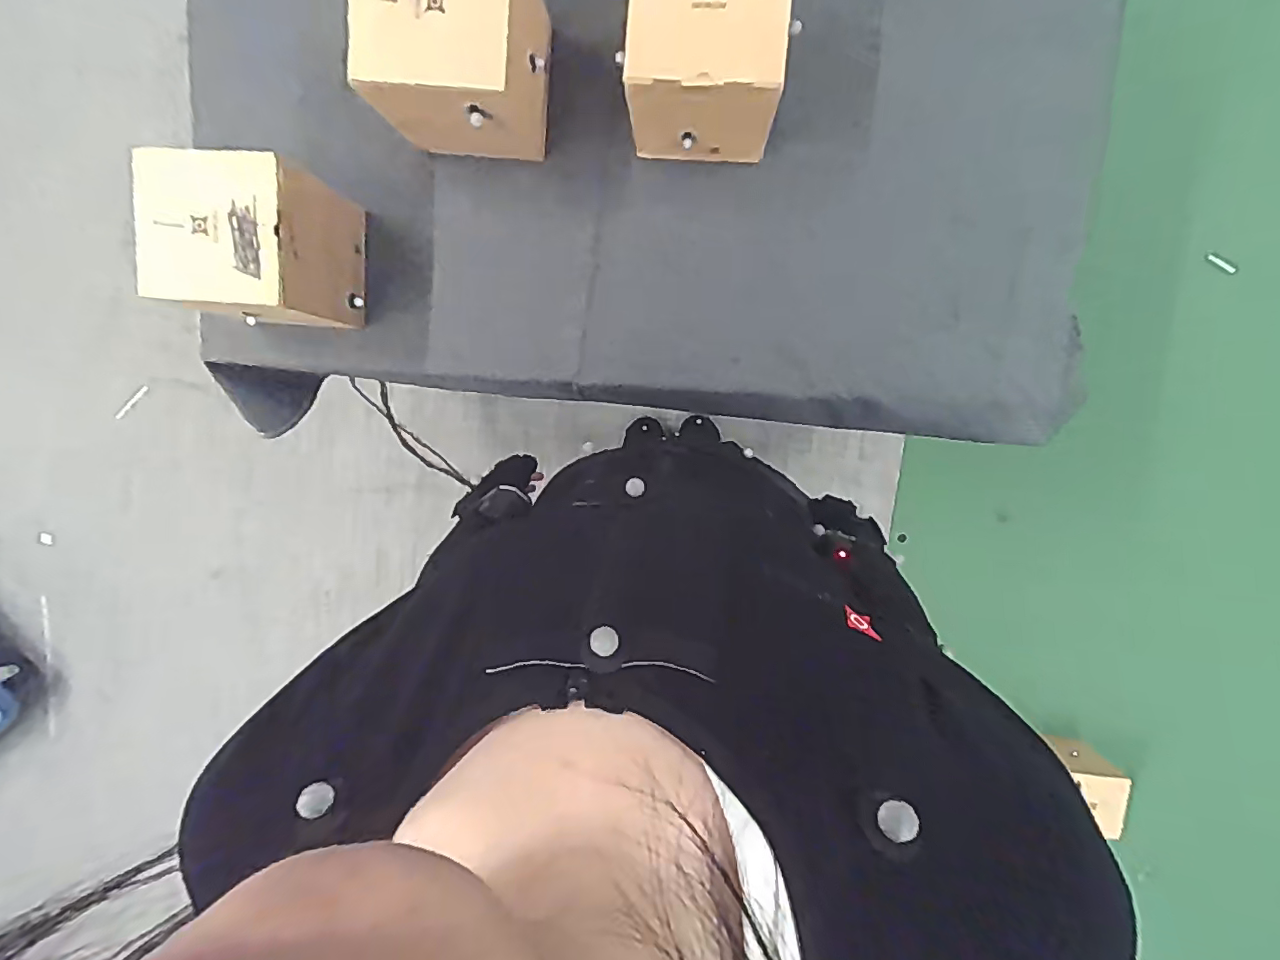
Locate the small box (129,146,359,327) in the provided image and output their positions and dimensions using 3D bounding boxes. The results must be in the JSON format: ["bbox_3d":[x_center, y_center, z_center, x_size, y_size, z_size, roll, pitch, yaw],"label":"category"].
[{"bbox_3d":[-0.483,-0.293,0.686,0.179,0.176,0.168,5,97,3],"label":"small box"}]

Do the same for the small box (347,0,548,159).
[{"bbox_3d":[-0.214,-0.506,0.642,0.179,0.176,0.168,6,98,3],"label":"small box"}]

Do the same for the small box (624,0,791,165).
[{"bbox_3d":[0.075,-0.500,0.627,0.168,0.176,0.179,5,98,3],"label":"small box"}]
